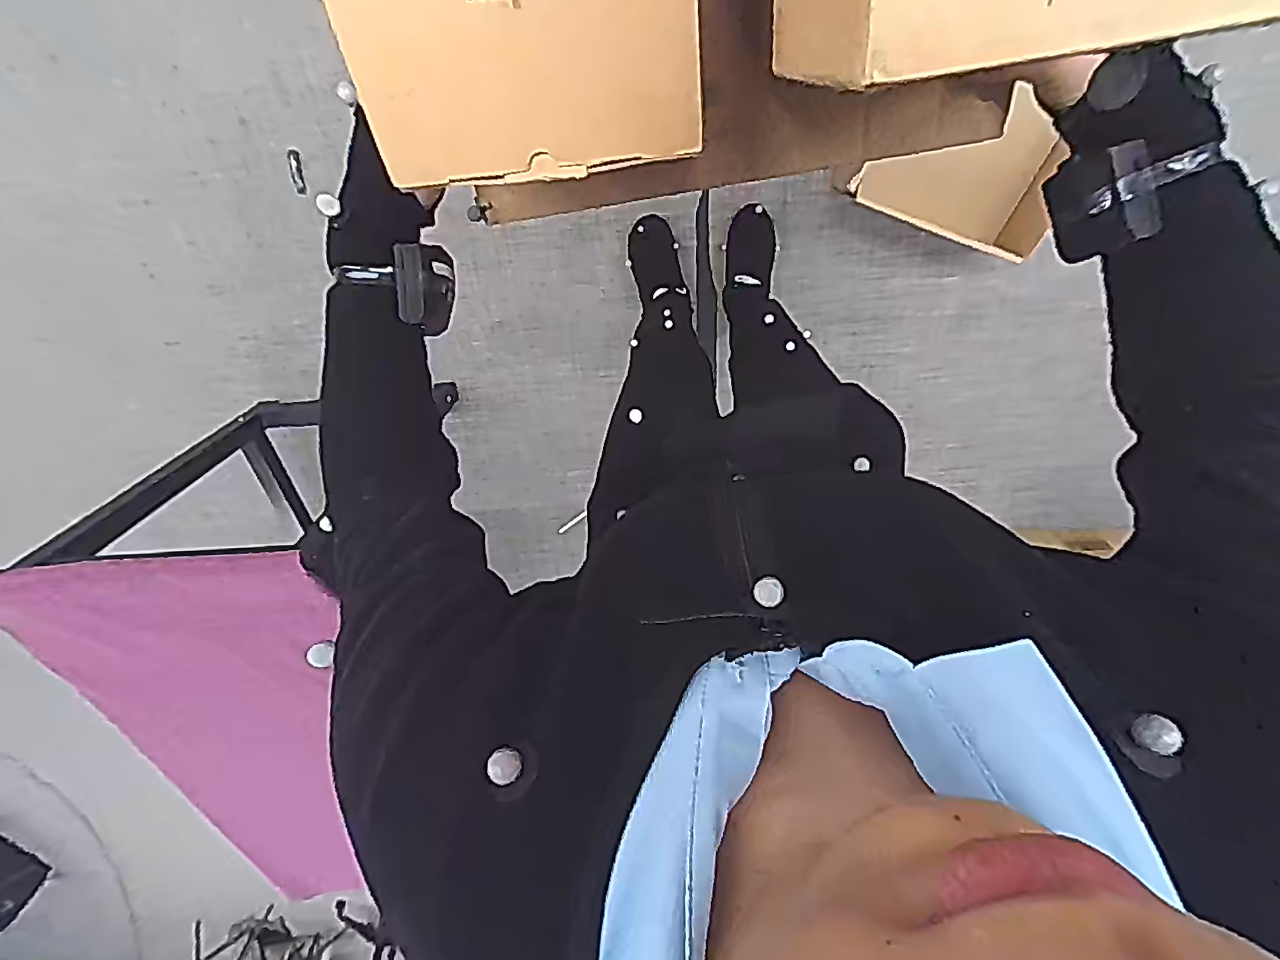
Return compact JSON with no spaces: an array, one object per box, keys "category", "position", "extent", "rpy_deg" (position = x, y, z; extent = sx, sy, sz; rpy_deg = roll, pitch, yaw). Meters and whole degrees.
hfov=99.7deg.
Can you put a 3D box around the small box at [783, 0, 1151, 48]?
[{"category":"small box","position":[0.128,-0.211,0.116],"extent":[0.179,0.176,0.168],"rpy_deg":[-4,127,8]}]
